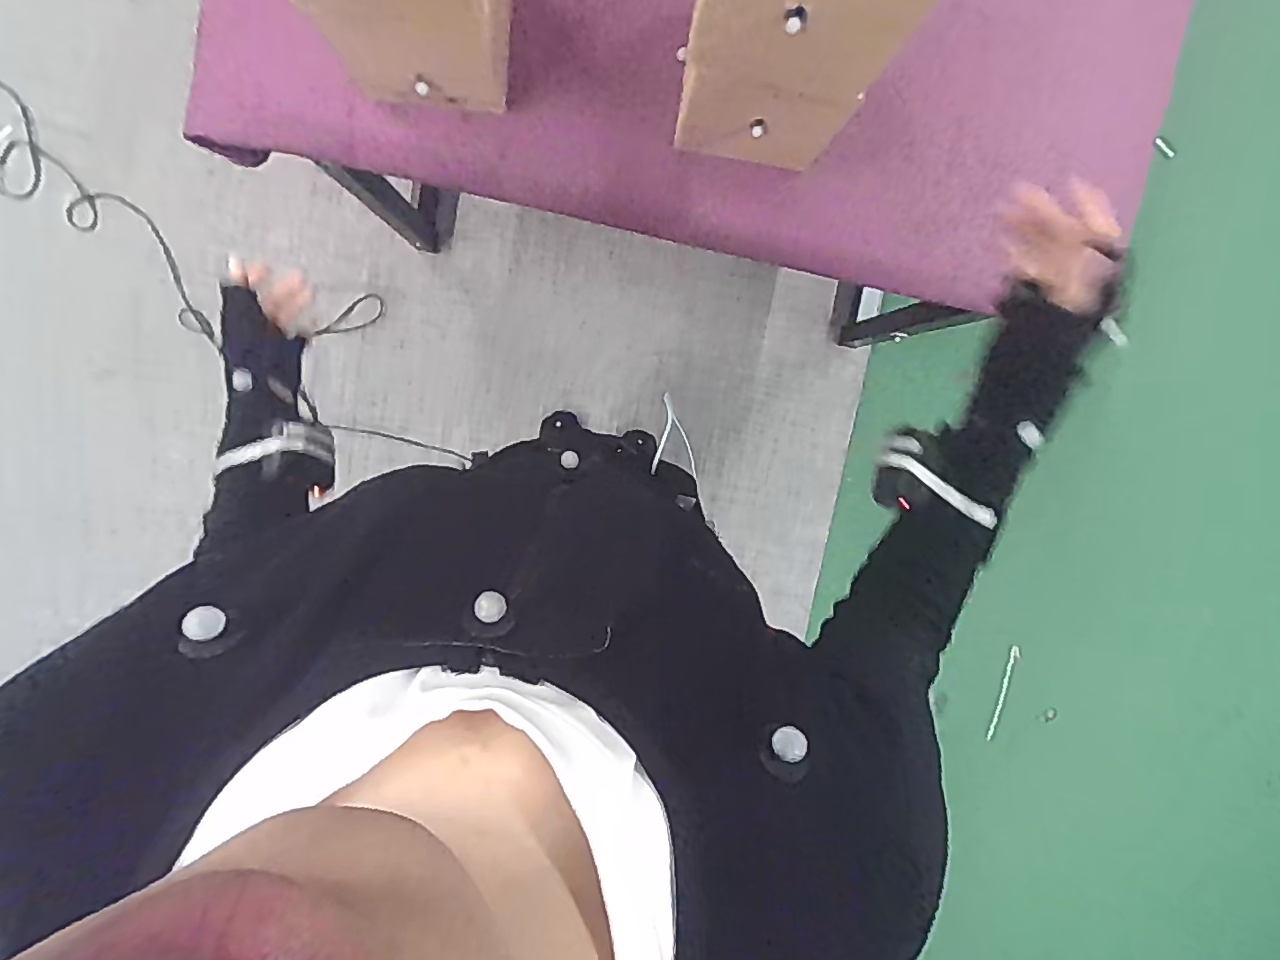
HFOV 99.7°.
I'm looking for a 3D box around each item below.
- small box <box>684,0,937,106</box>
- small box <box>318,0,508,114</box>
[{"bbox_3d":[0.148,-0.461,0.460,0.179,0.176,0.168,11,96,-6],"label":"small box"},{"bbox_3d":[-0.238,-0.538,0.578,0.168,0.176,0.179,4,97,-6],"label":"small box"}]
